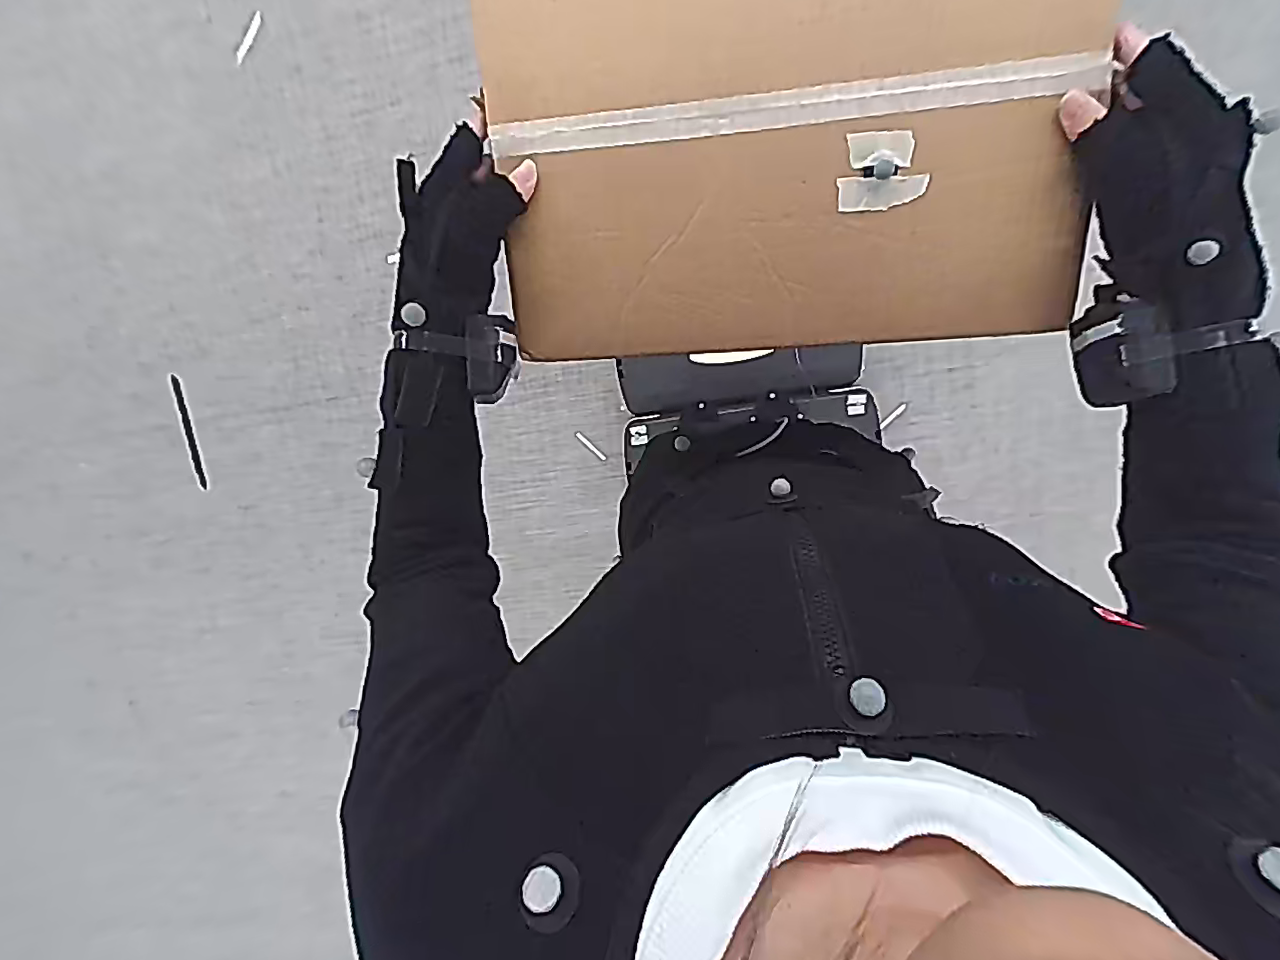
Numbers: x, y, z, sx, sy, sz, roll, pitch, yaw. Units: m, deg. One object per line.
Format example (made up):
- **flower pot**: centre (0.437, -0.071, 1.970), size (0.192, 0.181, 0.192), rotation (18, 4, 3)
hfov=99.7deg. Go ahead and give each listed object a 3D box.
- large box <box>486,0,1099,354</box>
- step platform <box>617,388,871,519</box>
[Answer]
- **large box**: centre (0.110, -0.301, 0.519), size (0.408, 0.320, 0.320), rotation (-2, 107, 7)
- **step platform**: centre (0.279, -0.071, 1.519), size (0.684, 0.204, 0.286), rotation (-7, 97, 11)
